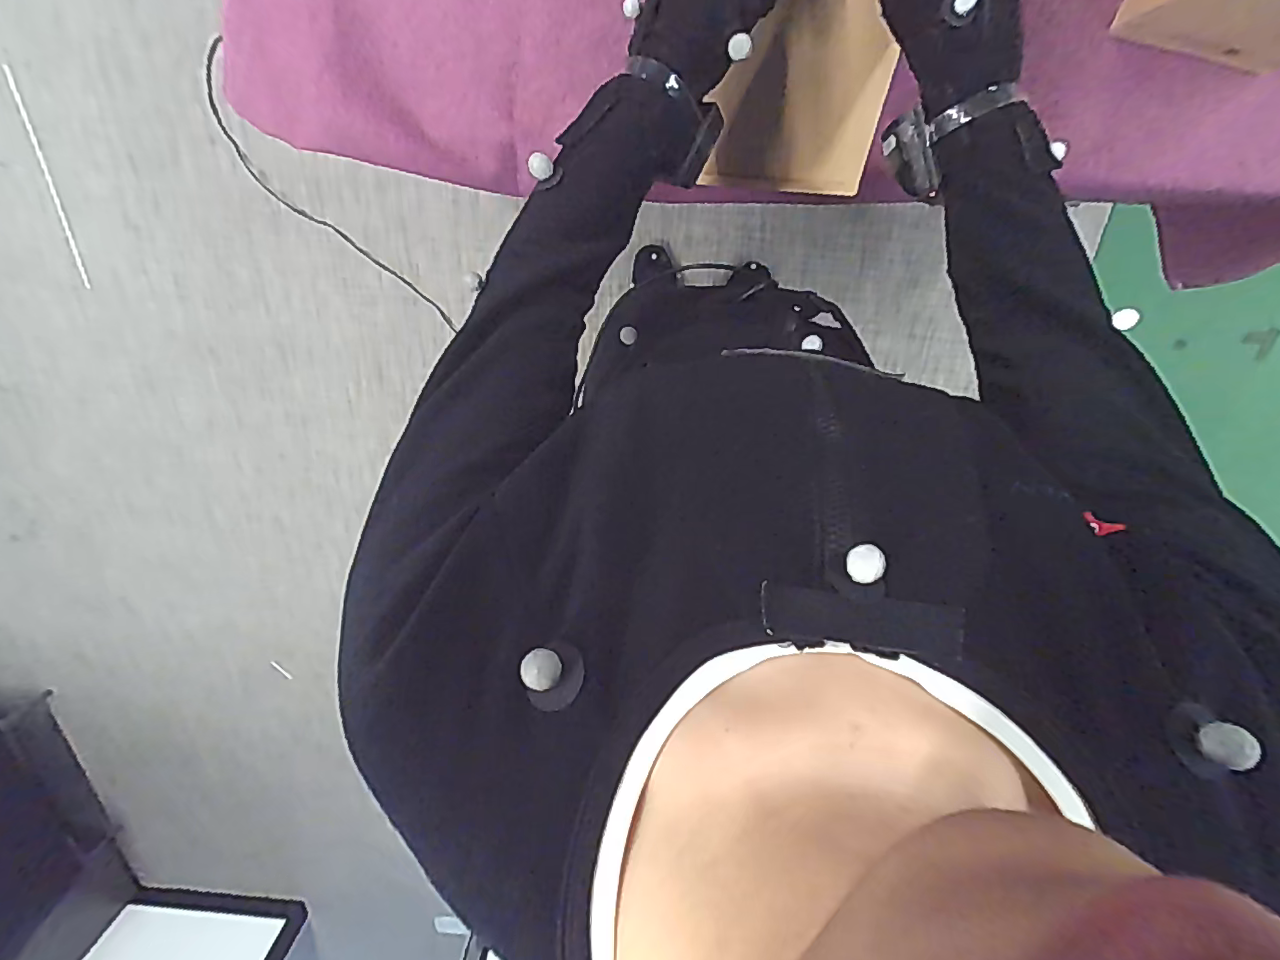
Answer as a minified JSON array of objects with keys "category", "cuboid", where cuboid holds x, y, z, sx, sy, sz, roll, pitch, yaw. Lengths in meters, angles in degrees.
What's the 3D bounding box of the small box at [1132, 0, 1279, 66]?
[{"category":"small box","cuboid":[0.546,-0.458,0.416,0.168,0.176,0.179,14,114,-2]}]
